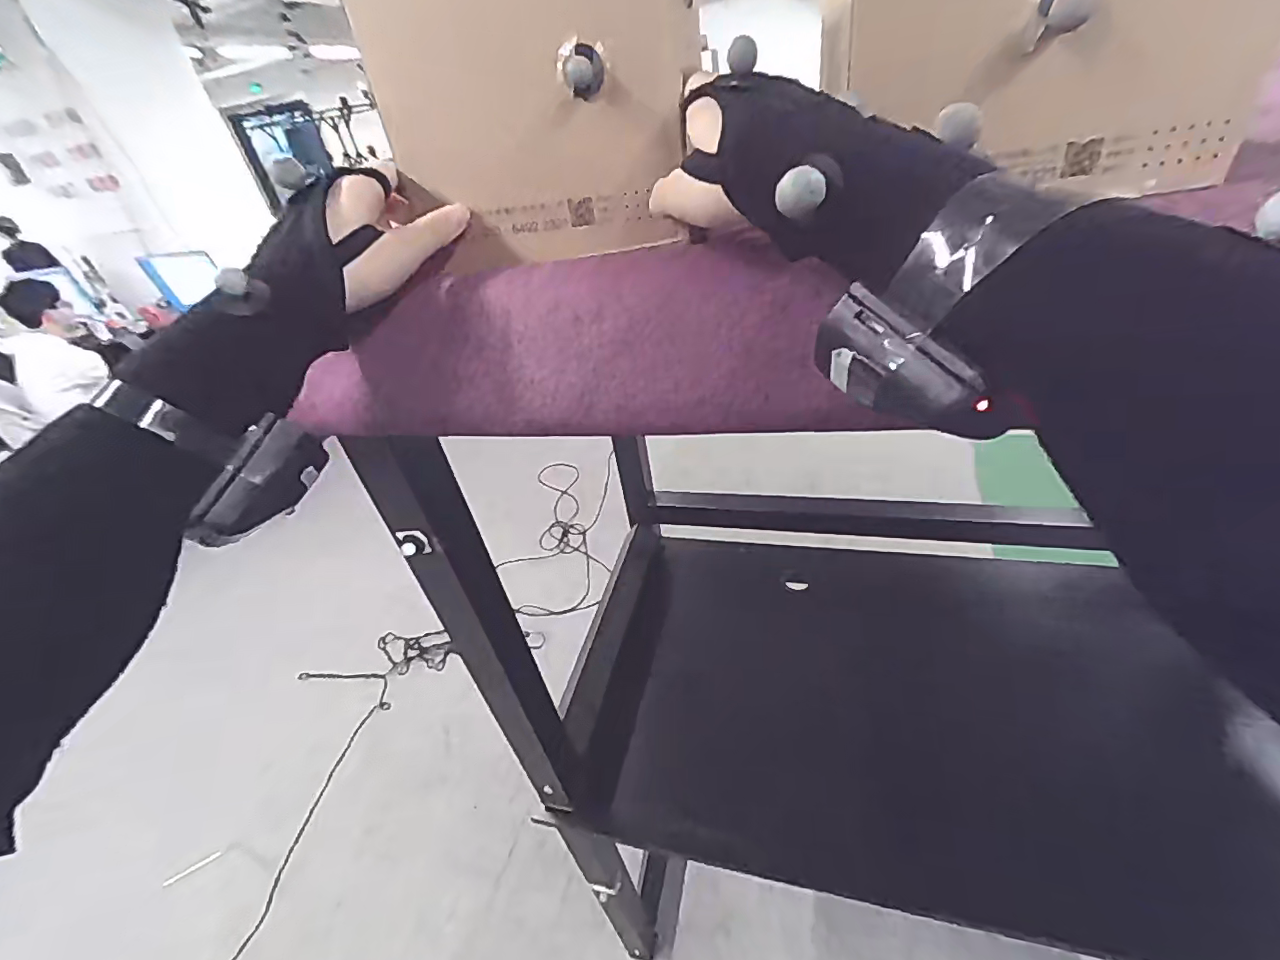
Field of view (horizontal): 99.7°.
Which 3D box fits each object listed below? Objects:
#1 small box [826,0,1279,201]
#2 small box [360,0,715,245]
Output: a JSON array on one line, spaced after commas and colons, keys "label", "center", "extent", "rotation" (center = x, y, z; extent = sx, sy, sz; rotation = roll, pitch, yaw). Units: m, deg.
[{"label": "small box", "center": [0.192, -0.254, 0.281], "extent": [0.168, 0.176, 0.179], "rotation": [0, 37, 13]}, {"label": "small box", "center": [-0.042, -0.254, 0.341], "extent": [0.168, 0.176, 0.179], "rotation": [0, 36, 12]}]
